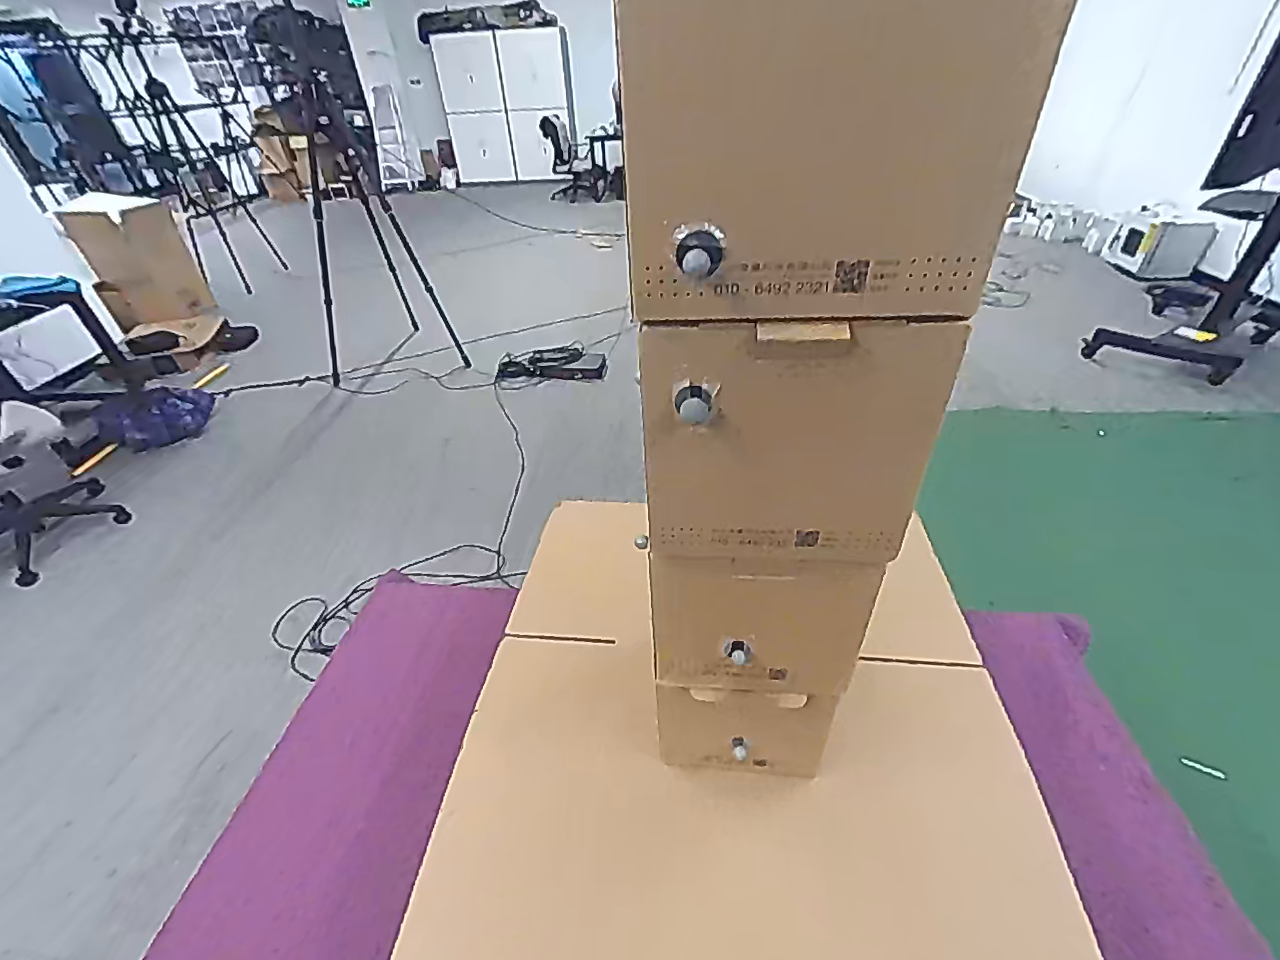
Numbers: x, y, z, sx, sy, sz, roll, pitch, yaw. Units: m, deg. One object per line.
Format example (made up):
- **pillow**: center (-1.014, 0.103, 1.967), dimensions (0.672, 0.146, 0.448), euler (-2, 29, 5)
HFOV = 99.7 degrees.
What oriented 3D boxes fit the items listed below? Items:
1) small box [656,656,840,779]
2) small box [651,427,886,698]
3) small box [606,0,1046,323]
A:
- **small box**: center (0.109, 0.194, 0.594), dimensions (0.168, 0.176, 0.179), euler (1, 38, 8)
- **small box**: center (0.099, 0.068, 0.490), dimensions (0.168, 0.176, 0.179), euler (1, 38, 6)
- **small box**: center (0.080, -0.190, 0.286), dimensions (0.168, 0.176, 0.179), euler (1, 36, 6)
